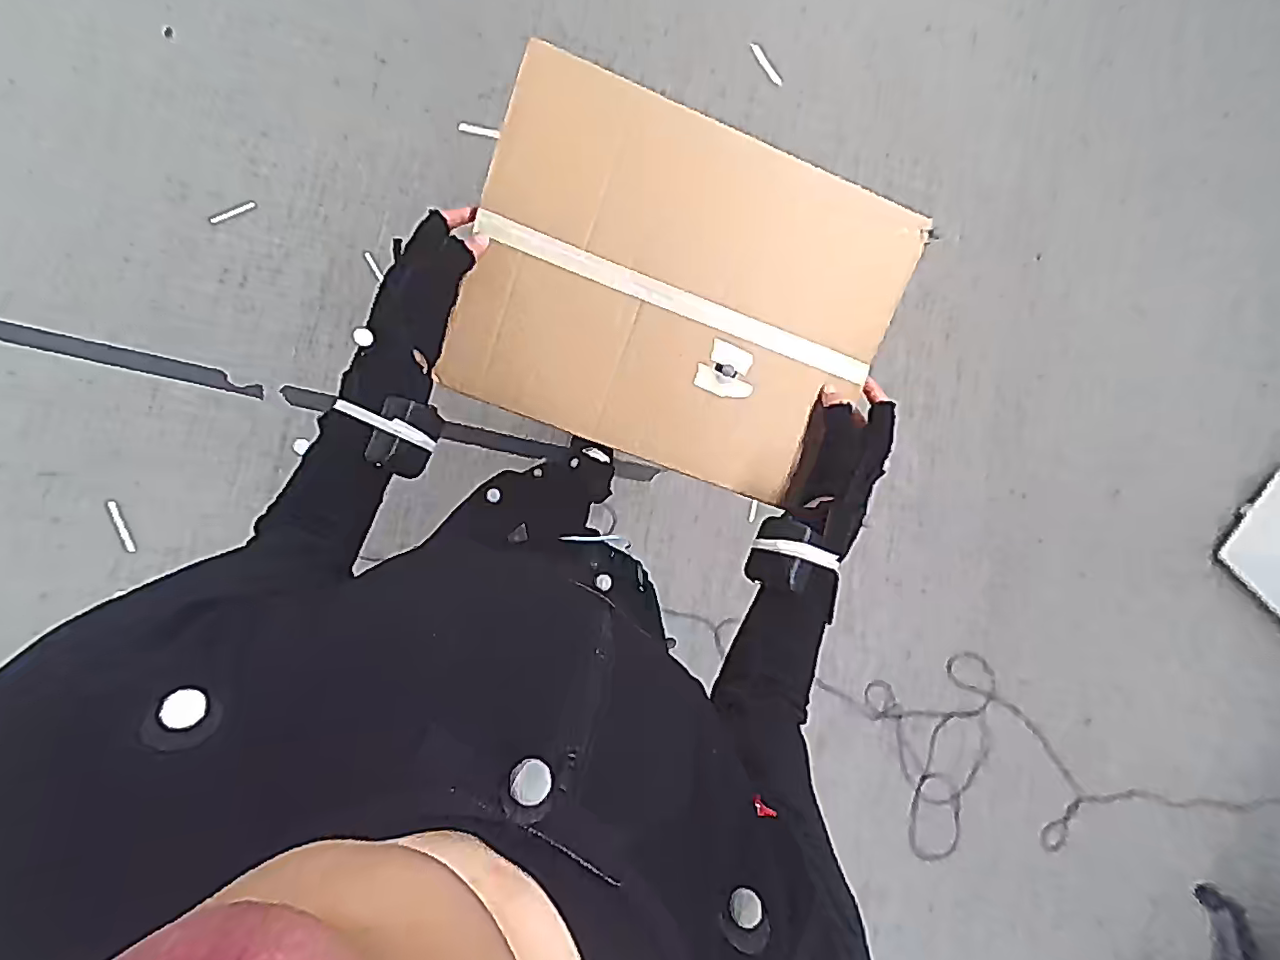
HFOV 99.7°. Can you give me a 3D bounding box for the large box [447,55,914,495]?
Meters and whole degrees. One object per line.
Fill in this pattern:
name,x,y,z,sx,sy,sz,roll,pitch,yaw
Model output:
large box,0.028,-0.216,0.685,0.408,0.320,0.320,20,102,-9
